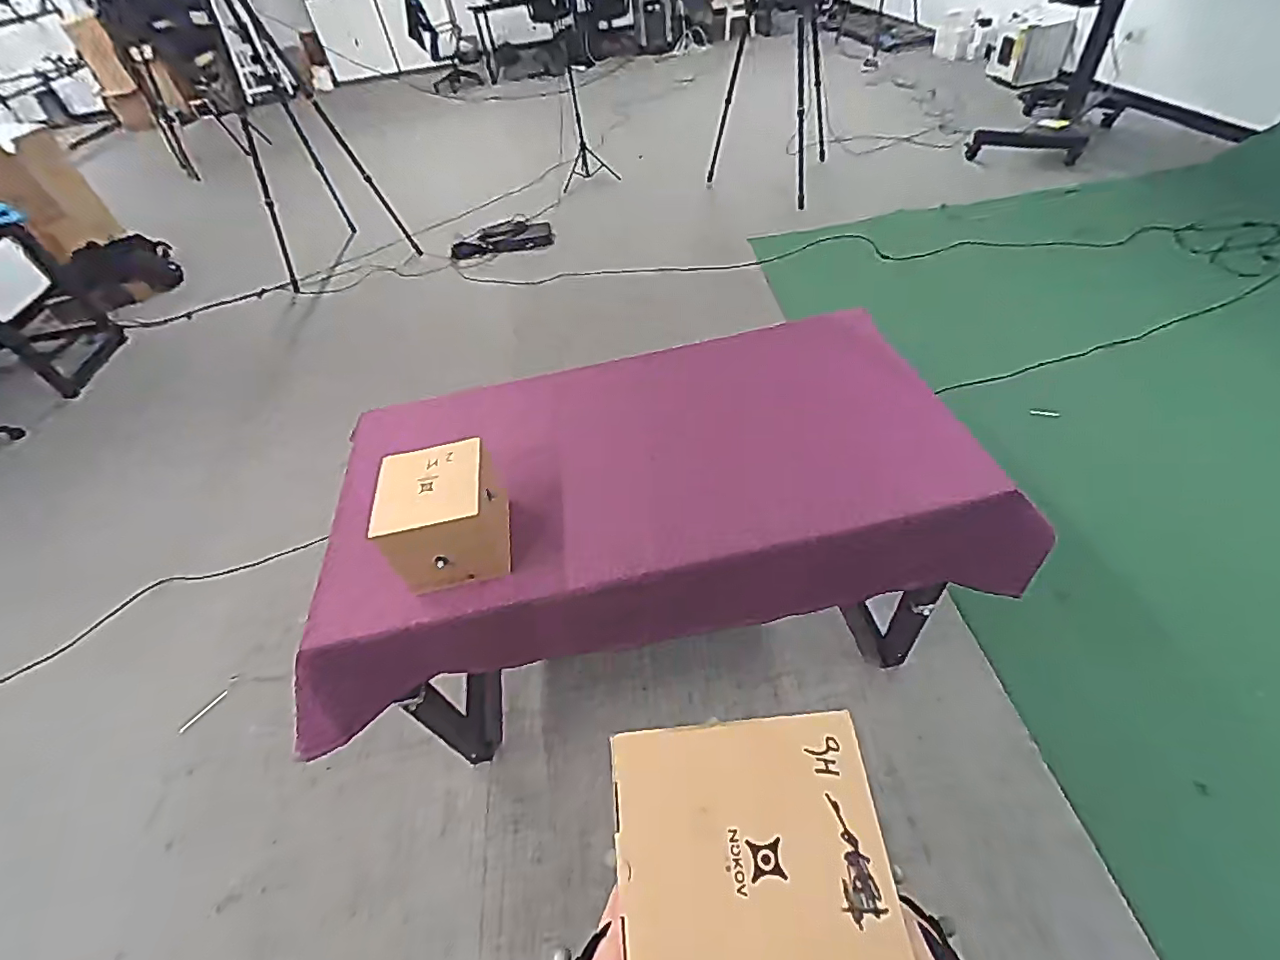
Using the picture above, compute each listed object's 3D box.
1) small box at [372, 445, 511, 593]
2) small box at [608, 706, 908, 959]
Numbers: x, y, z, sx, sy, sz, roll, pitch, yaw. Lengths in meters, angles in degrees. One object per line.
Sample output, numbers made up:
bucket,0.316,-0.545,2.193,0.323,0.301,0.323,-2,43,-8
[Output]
small box,-0.320,0.072,0.910,0.168,0.176,0.179,-12,46,-2
small box,0.075,0.281,0.421,0.179,0.176,0.168,-6,60,1
